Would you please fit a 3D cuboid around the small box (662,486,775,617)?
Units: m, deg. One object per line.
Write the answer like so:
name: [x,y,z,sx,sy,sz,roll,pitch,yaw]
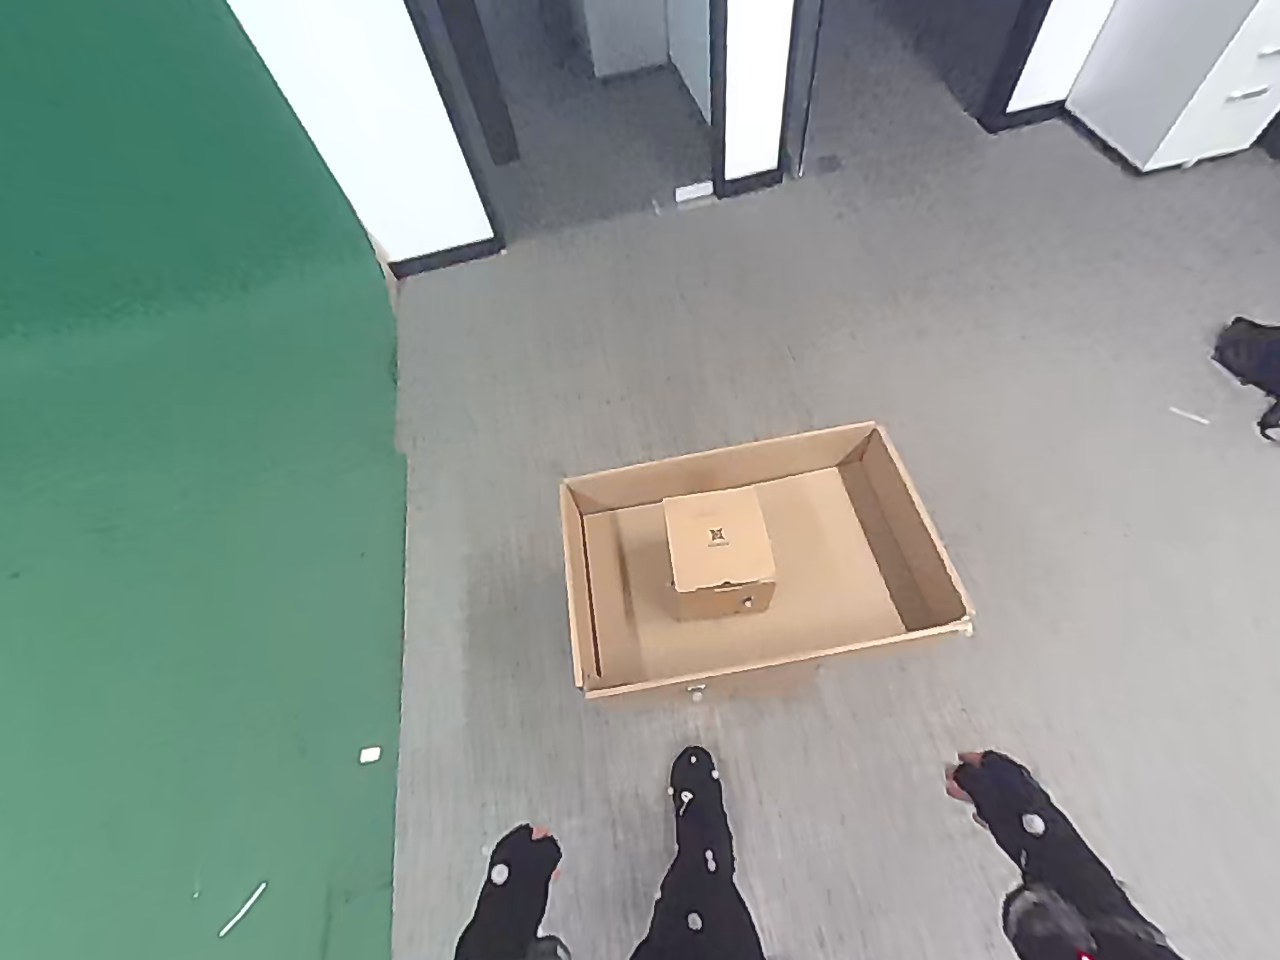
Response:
small box: [0.134,0.136,0.967,0.168,0.176,0.179,-8,57,0]
